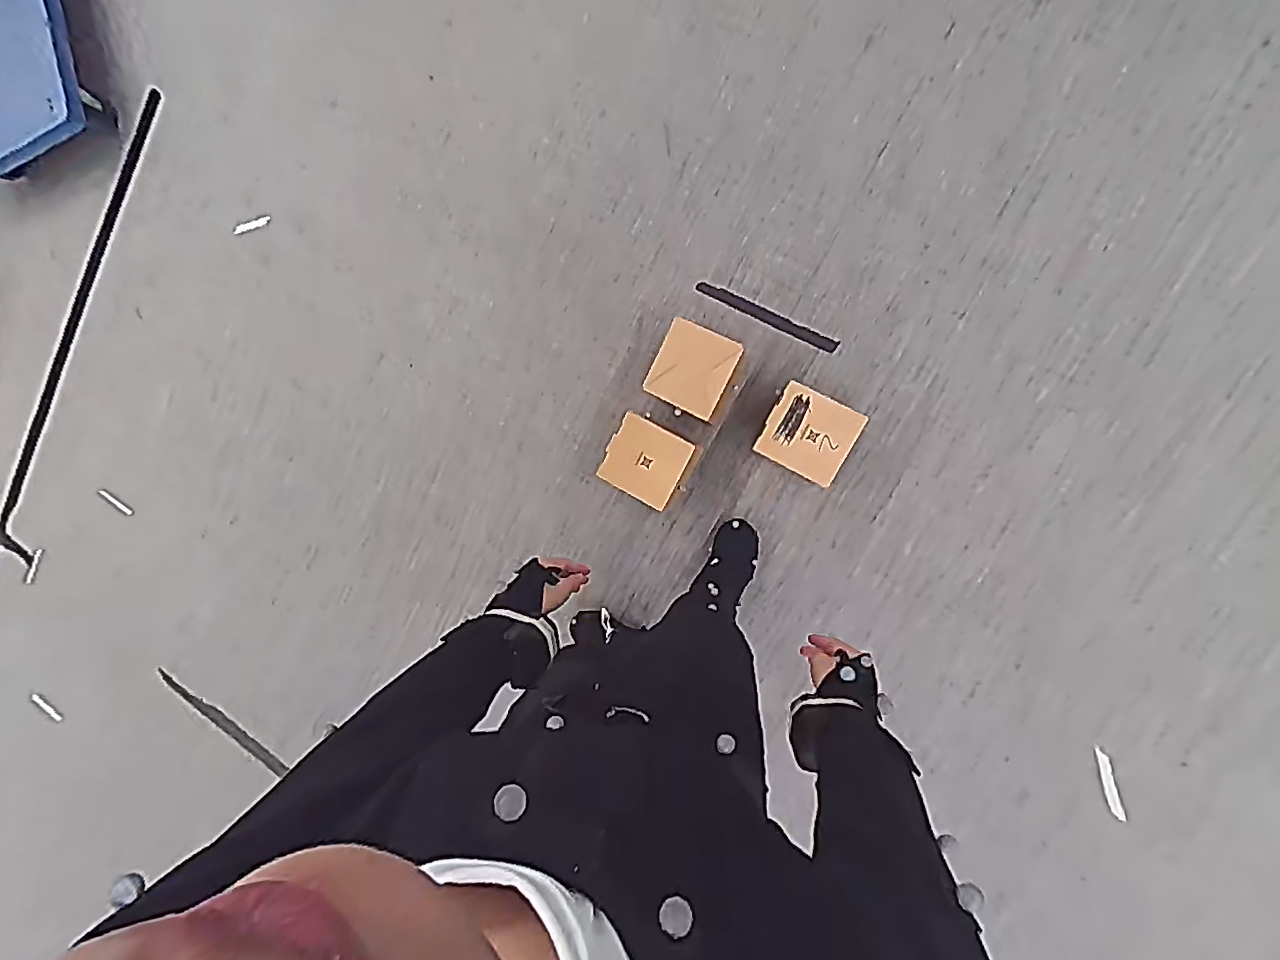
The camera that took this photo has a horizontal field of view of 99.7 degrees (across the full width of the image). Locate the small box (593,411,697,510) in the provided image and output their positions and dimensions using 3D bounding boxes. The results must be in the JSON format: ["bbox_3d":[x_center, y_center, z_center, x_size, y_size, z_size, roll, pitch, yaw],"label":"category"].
[{"bbox_3d":[0.020,-0.048,1.279,0.179,0.176,0.168,29,98,10],"label":"small box"}]
